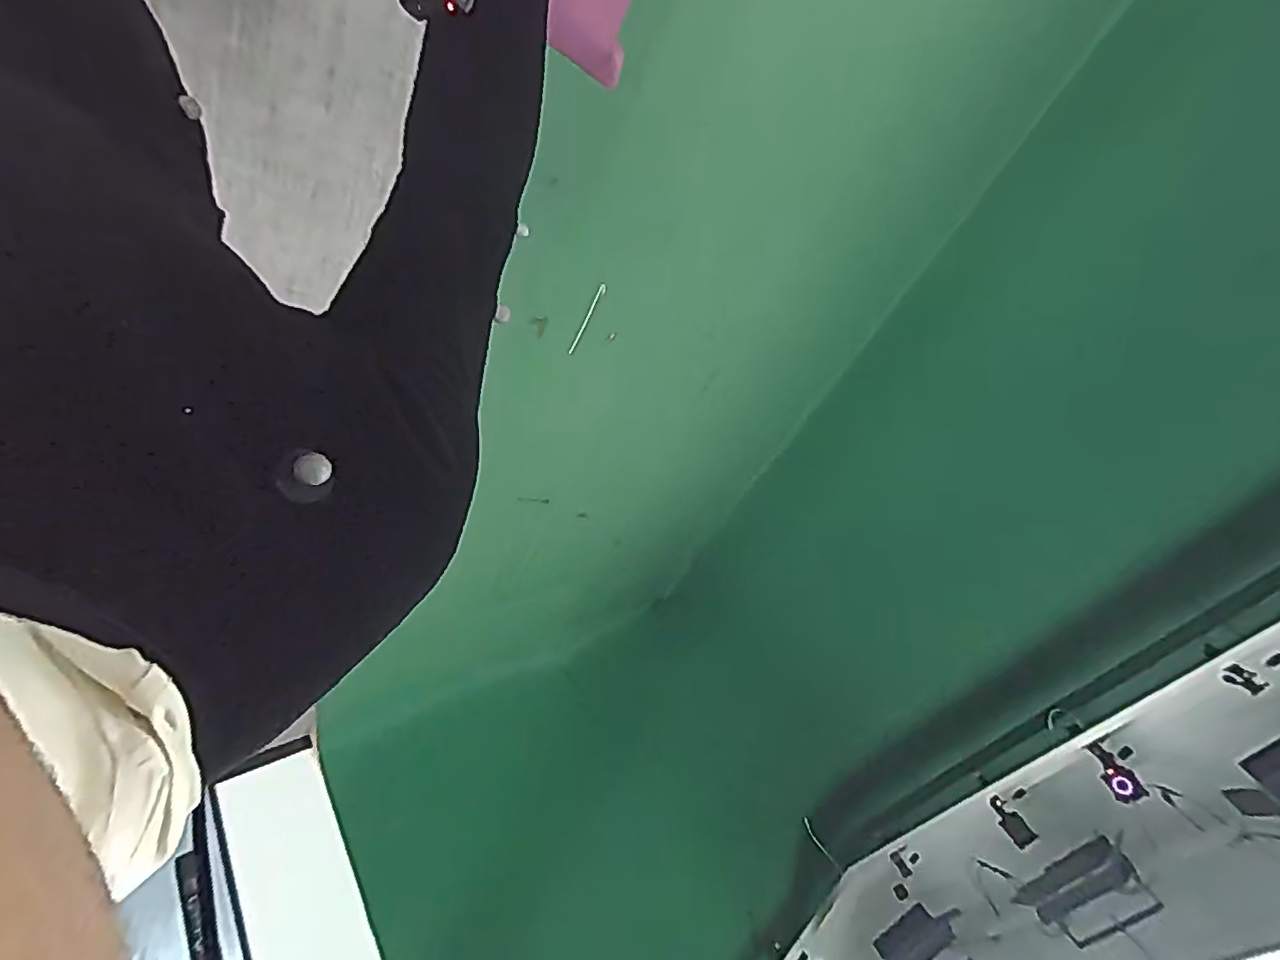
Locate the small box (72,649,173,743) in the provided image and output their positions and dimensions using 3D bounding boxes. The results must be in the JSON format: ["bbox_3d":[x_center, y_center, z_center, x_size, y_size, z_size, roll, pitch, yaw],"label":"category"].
[{"bbox_3d":[-1.484,0.609,1.549,0.179,0.176,0.168,2,132,-54],"label":"small box"}]
